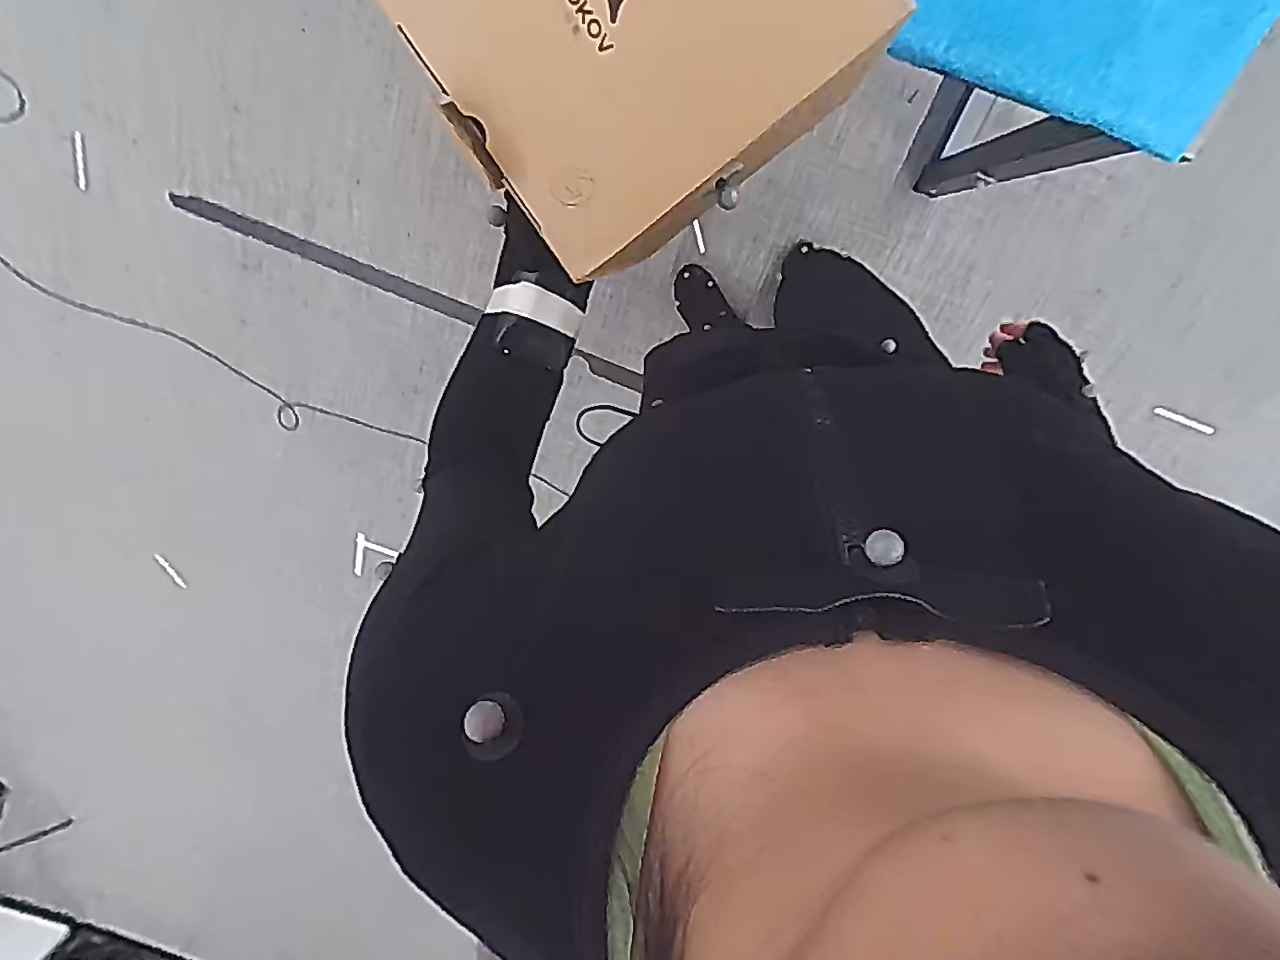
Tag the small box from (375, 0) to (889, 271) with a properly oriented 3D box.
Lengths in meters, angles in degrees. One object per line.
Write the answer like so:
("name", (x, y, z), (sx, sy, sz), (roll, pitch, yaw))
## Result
("small box", (0.003, -0.238, 0.289), (0.179, 0.176, 0.168), (-29, 106, 25))
